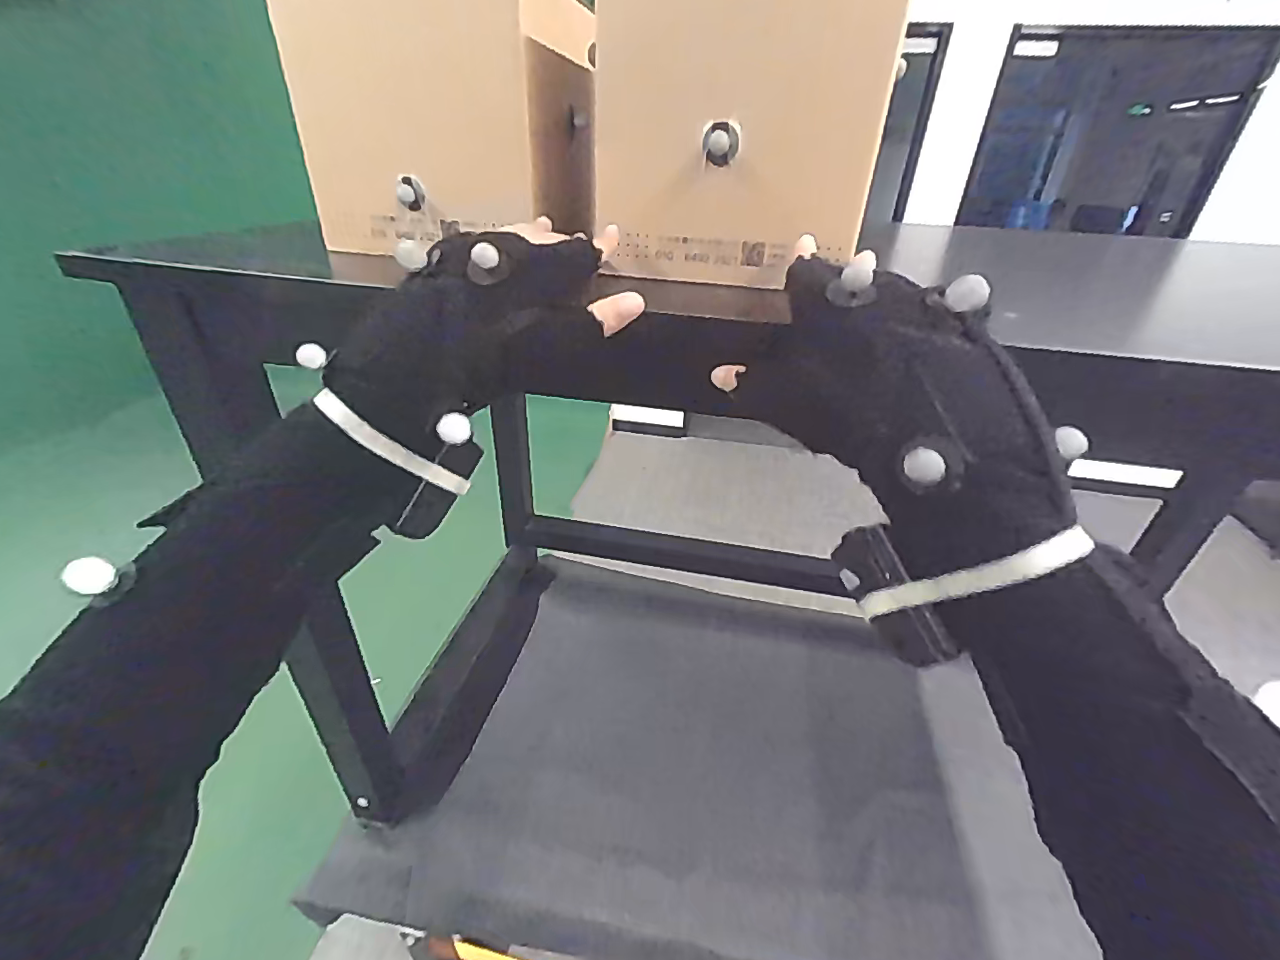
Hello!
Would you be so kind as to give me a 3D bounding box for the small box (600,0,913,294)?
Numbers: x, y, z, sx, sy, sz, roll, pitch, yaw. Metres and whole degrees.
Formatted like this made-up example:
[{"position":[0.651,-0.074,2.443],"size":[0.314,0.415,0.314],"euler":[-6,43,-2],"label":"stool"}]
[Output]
[{"position":[0.075,-0.237,0.380],"size":[0.168,0.176,0.179],"euler":[9,32,9],"label":"small box"}]
